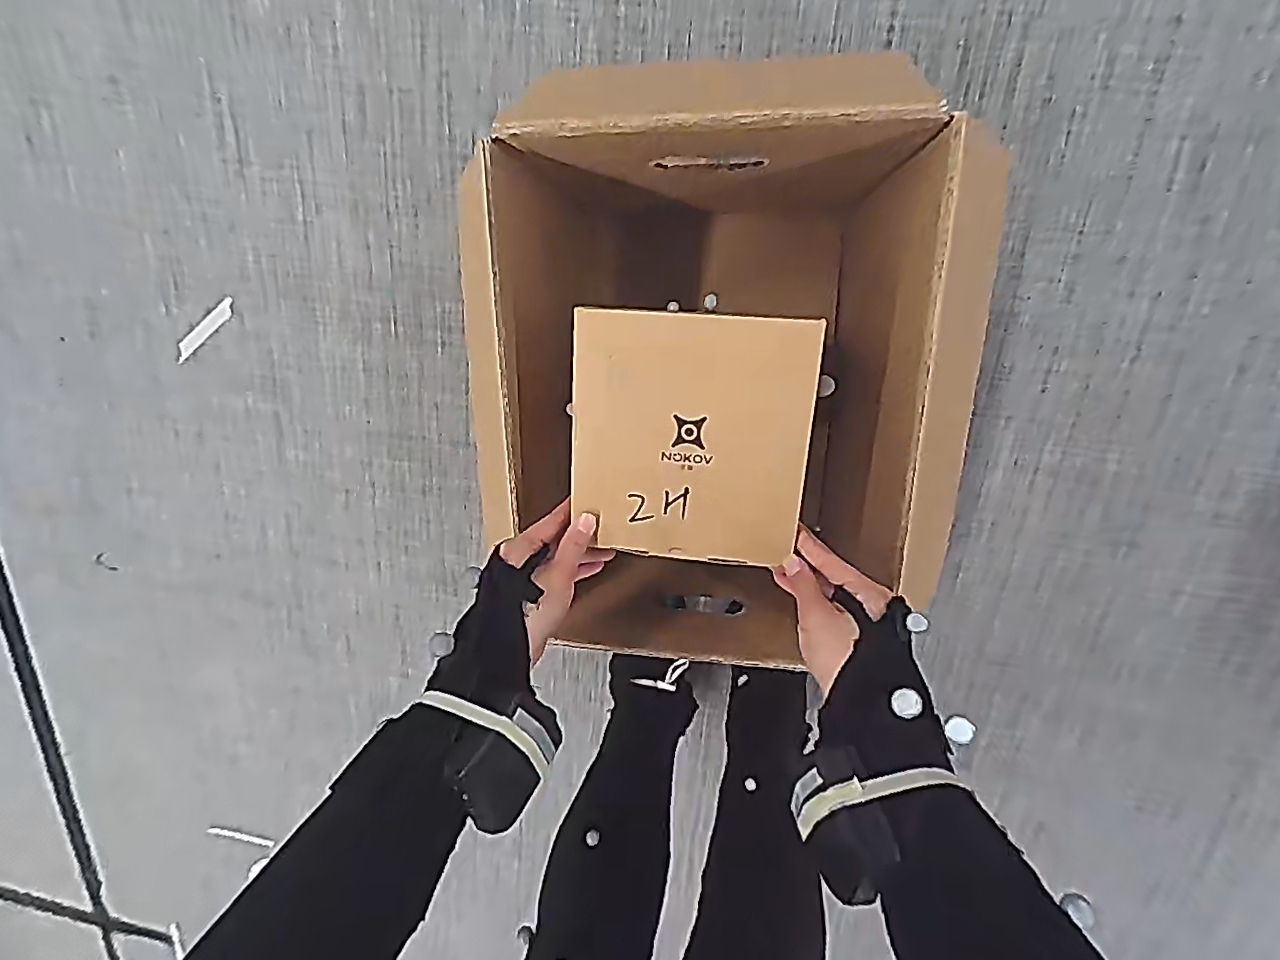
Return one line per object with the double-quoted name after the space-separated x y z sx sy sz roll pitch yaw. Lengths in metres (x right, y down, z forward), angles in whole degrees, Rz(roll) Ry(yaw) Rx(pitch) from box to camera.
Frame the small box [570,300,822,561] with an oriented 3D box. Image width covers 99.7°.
0.044 -0.053 0.456 0.168 0.176 0.179 5 107 8 "small box"
